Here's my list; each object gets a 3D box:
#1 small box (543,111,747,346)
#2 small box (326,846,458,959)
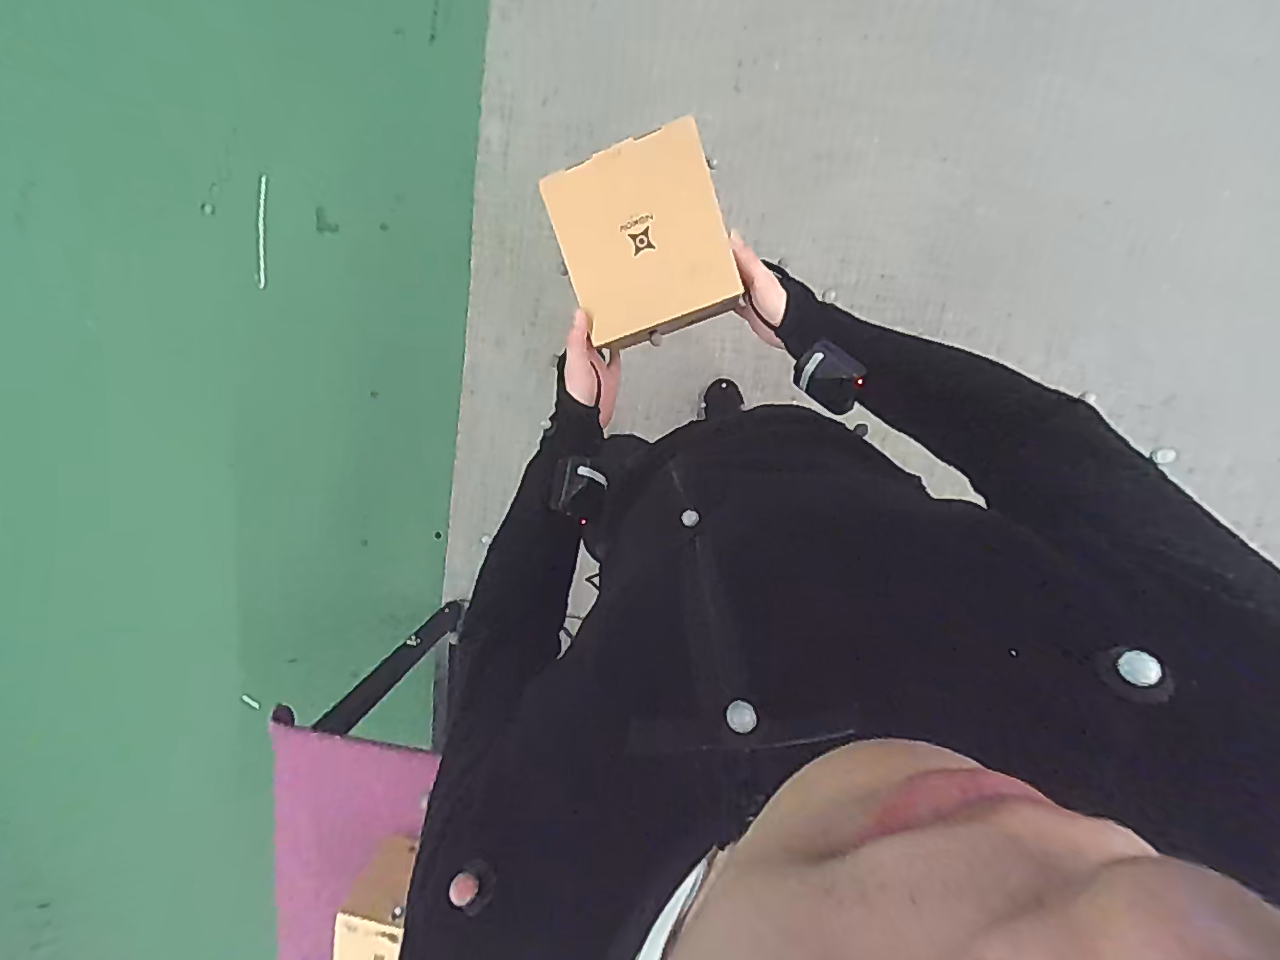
[{"bbox_3d":[0.016,-0.258,0.606,0.168,0.176,0.179,-16,99,10],"label":"small box"},{"bbox_3d":[-0.455,0.837,1.008,0.168,0.176,0.179,10,102,3],"label":"small box"}]
